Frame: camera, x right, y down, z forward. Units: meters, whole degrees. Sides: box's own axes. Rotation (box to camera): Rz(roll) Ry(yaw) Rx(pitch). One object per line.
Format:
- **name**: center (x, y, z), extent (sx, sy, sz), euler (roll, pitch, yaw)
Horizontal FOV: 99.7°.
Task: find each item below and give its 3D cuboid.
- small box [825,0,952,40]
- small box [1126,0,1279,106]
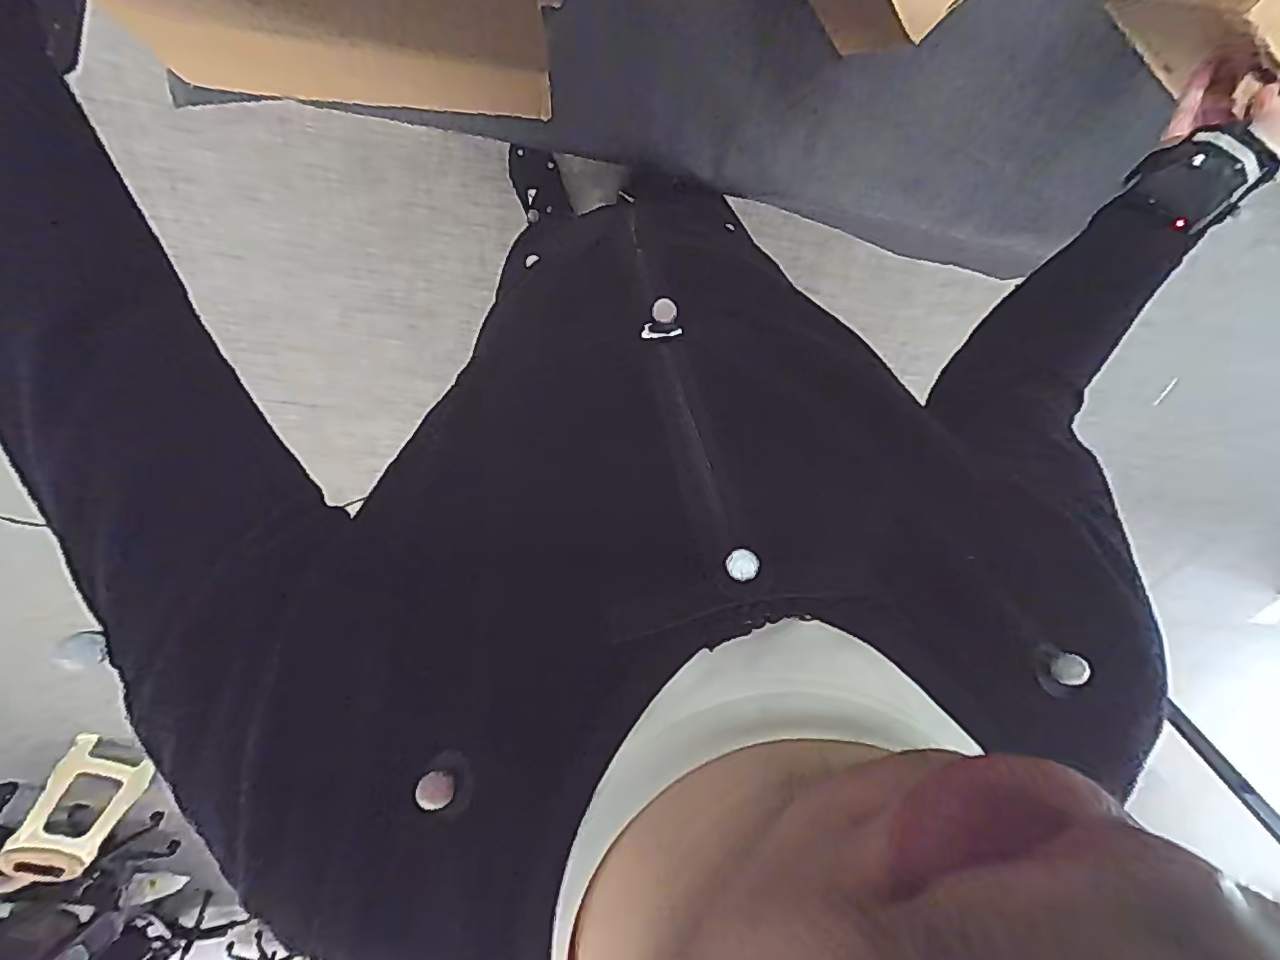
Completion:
- **small box**: center (0.228, -0.522, 0.454), extent (0.168, 0.176, 0.179), euler (-39, 121, 24)
- **small box**: center (0.564, -0.450, 0.450), extent (0.168, 0.176, 0.179), euler (19, 130, -24)
